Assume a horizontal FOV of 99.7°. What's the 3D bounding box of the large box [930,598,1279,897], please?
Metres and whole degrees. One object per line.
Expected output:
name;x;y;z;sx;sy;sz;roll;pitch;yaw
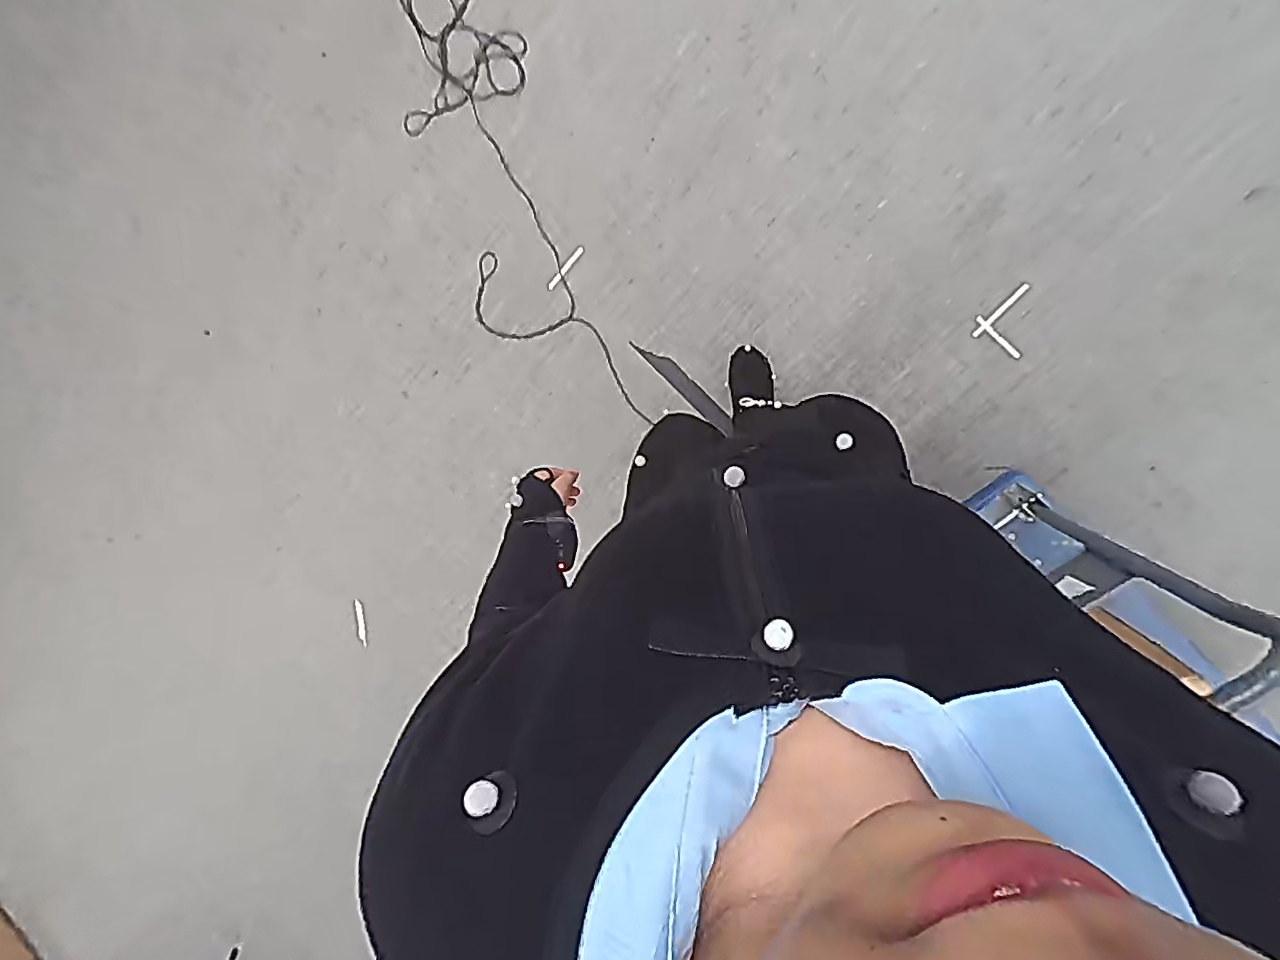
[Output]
large box;0.902;0.519;1.105;0.408;0.320;0.320;-41;91;15
